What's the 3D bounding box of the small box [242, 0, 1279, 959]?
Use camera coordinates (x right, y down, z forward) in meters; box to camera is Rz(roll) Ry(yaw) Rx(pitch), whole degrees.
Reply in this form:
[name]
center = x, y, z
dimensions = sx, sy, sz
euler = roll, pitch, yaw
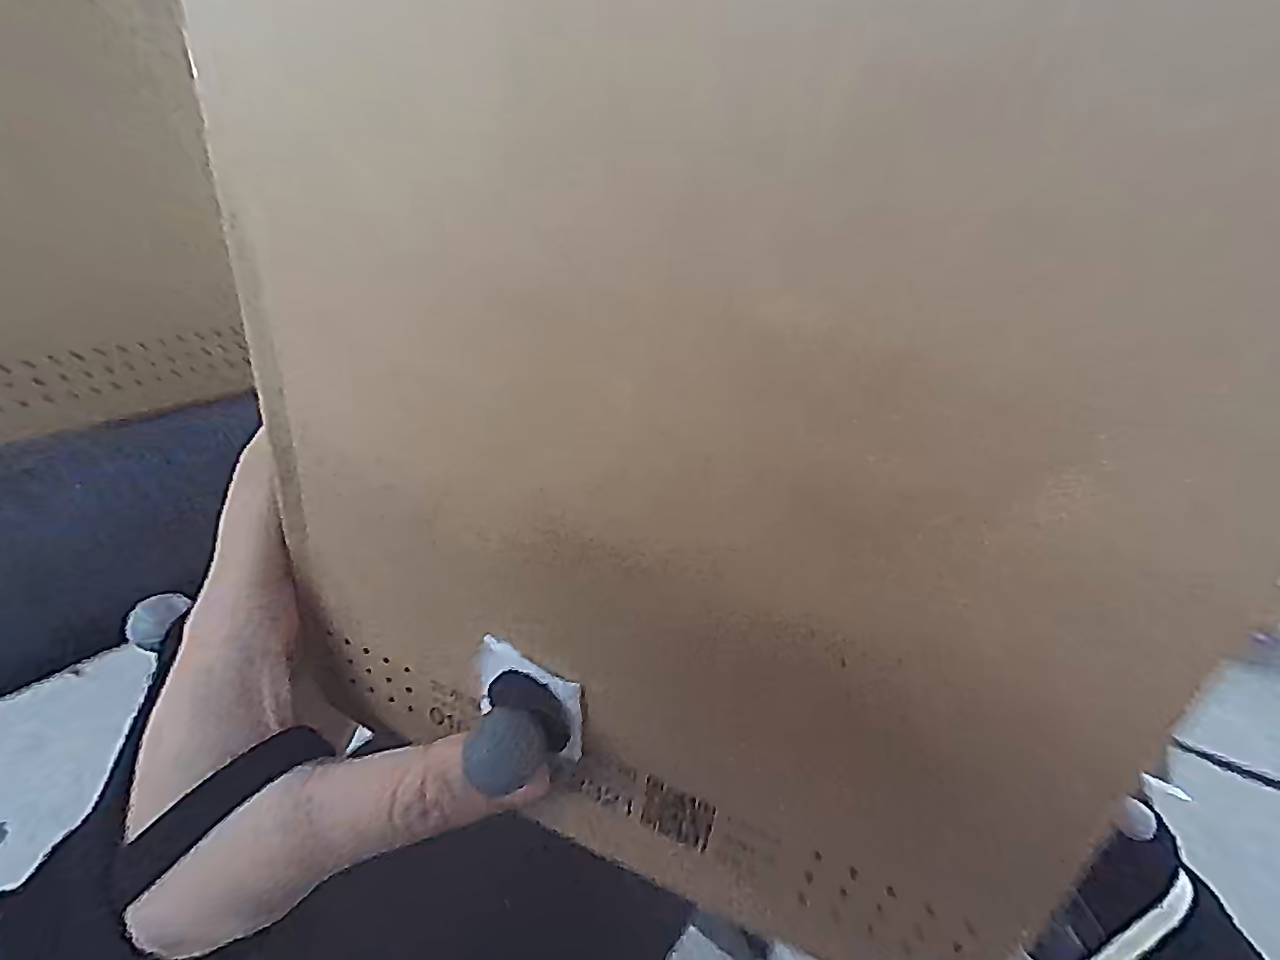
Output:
[small box]
center = 0.028, -0.016, 0.173
dimensions = 0.168, 0.176, 0.179
euler = 13, 26, 17
